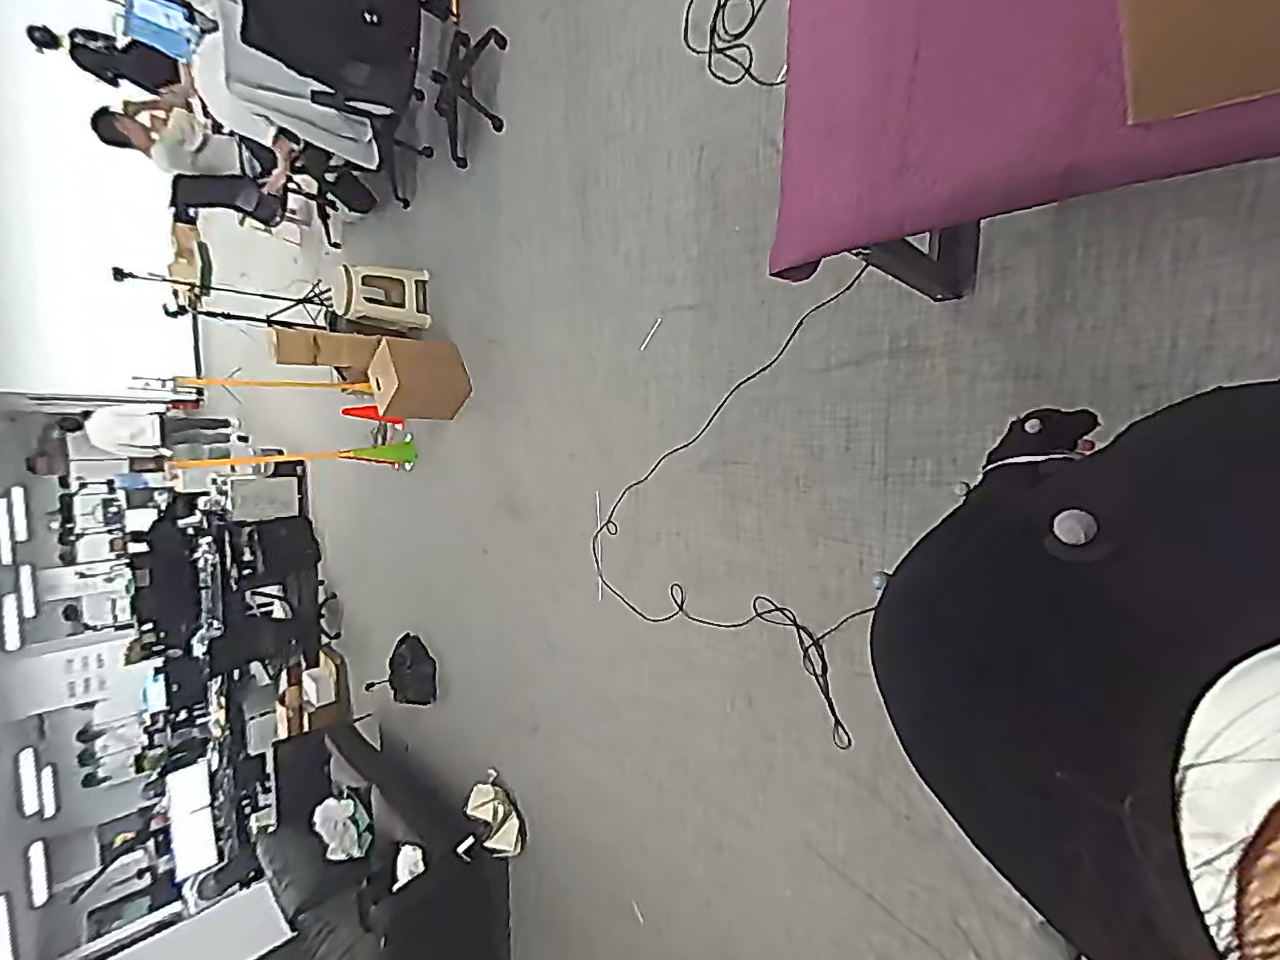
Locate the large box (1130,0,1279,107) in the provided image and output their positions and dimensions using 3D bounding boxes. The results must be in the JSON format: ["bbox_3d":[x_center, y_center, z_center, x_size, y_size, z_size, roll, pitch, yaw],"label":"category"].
[{"bbox_3d":[0.540,-0.557,0.337,0.320,0.320,0.408,10,101,43],"label":"large box"}]
